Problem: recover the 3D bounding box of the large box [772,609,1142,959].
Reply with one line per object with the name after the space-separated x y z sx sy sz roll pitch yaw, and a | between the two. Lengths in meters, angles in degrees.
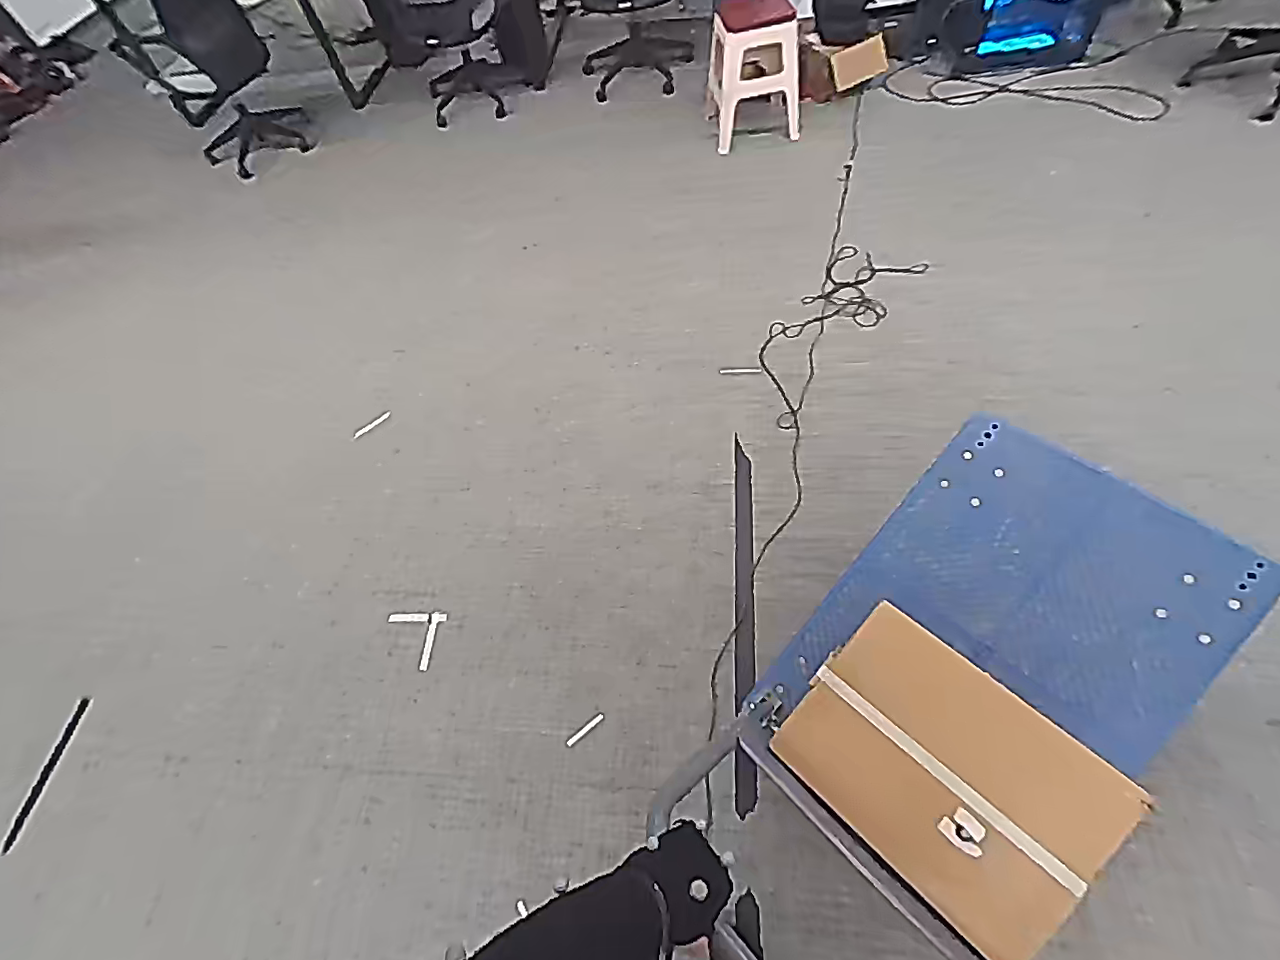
0.500 0.479 0.952 0.408 0.320 0.320 38 91 26 | large box
